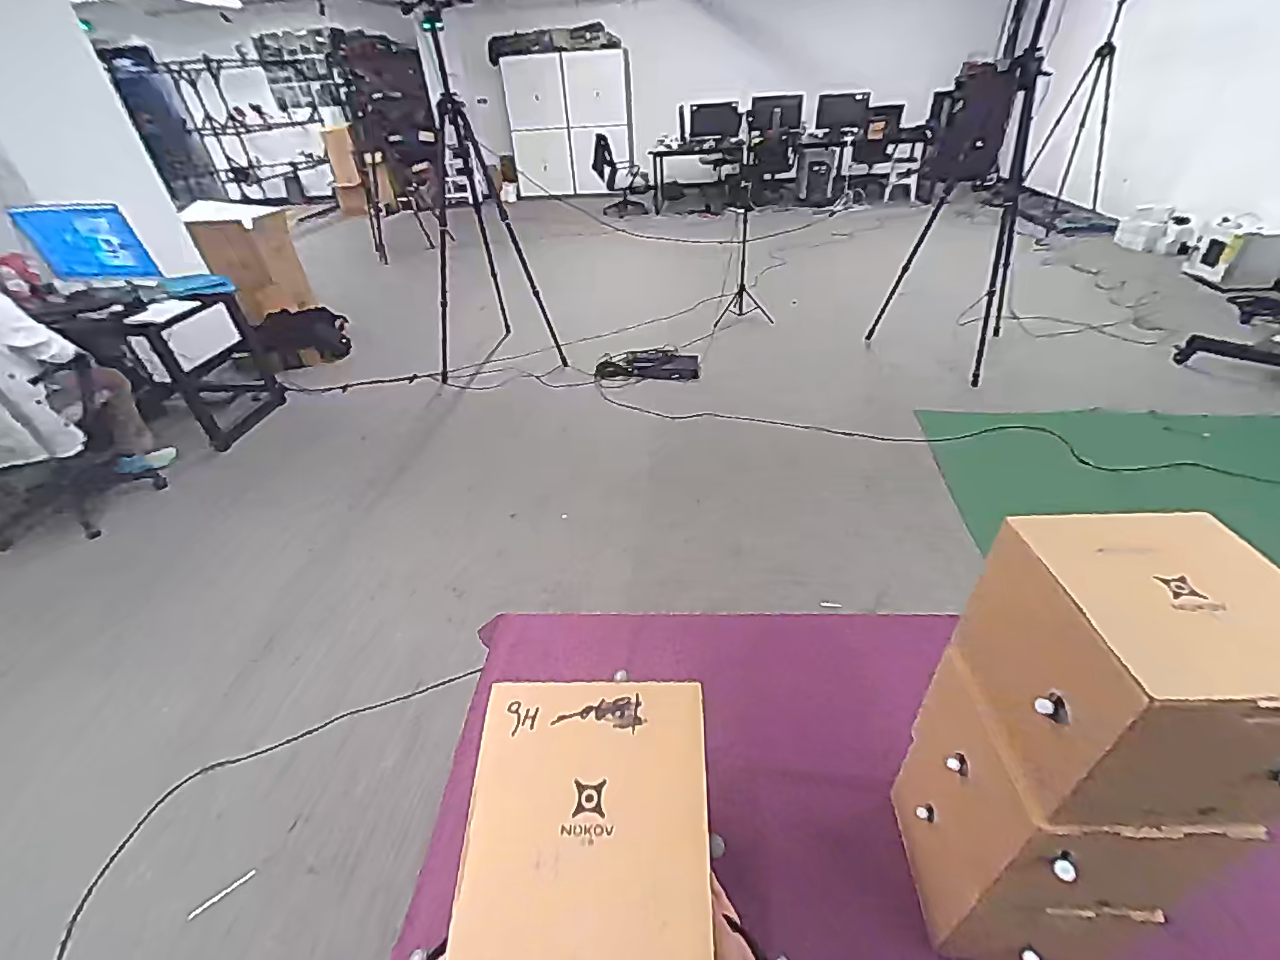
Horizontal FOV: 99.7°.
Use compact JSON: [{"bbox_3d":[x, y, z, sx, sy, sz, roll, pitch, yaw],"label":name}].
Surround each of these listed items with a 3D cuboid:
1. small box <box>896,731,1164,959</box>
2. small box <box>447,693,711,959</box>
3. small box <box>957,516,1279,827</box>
[{"bbox_3d":[0.411,0.417,0.616,0.168,0.176,0.179,0,37,7],"label":"small box"},{"bbox_3d":[-0.030,0.278,0.429,0.168,0.176,0.179,-1,56,4],"label":"small box"},{"bbox_3d":[0.388,0.148,0.429,0.168,0.176,0.179,-1,35,4],"label":"small box"}]
